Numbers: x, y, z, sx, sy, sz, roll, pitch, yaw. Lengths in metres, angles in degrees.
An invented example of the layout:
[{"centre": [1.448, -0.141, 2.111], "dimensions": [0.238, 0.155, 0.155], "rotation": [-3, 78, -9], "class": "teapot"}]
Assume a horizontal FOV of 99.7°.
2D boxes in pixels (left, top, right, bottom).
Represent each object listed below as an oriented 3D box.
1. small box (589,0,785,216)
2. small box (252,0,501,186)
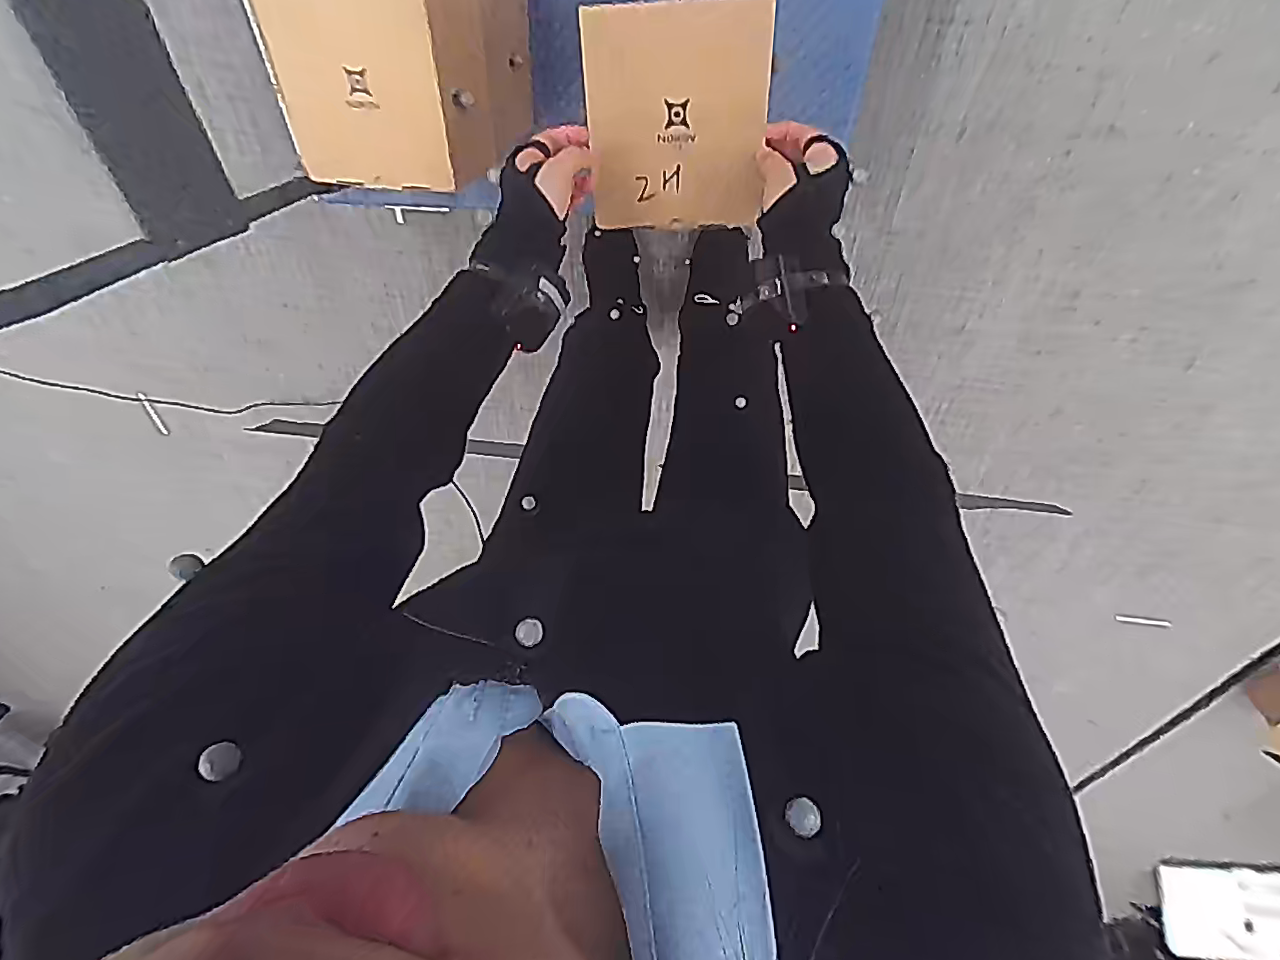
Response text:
[{"centre": [0.046, -0.382, 0.556], "dimensions": [0.168, 0.176, 0.179], "rotation": [2, 126, 6], "class": "small box"}, {"centre": [-0.258, -0.432, 0.571], "dimensions": [0.168, 0.176, 0.179], "rotation": [6, 132, 3], "class": "small box"}]
